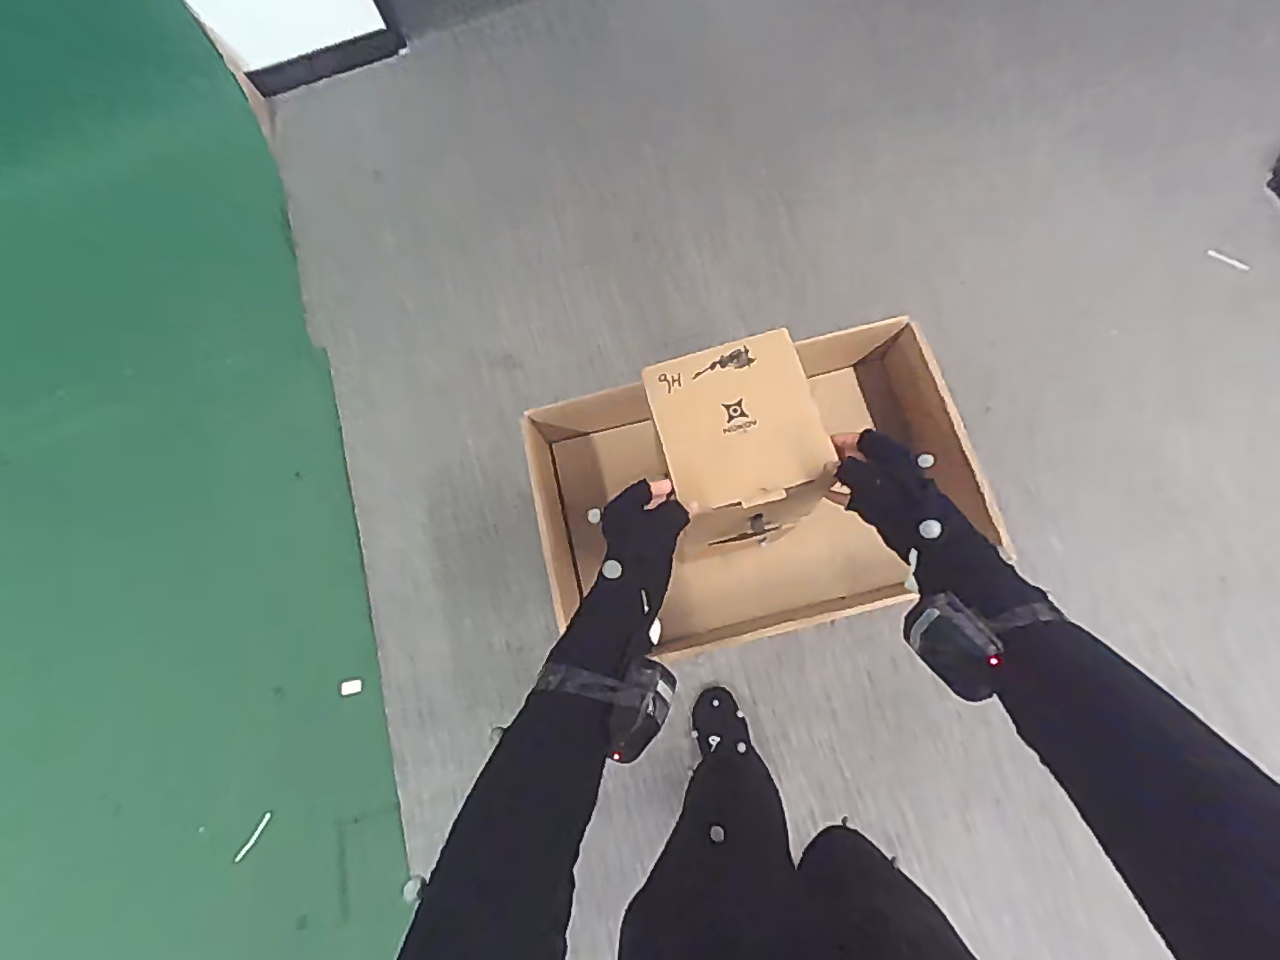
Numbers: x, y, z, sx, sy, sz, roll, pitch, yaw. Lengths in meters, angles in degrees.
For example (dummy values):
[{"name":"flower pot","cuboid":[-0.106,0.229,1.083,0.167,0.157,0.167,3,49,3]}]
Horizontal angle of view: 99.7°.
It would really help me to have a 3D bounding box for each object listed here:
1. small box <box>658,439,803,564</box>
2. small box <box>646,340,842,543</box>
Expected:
[{"name":"small box","cuboid":[0.128,0.024,0.824,0.168,0.176,0.179,-14,74,-1]},{"name":"small box","cuboid":[0.115,-0.030,0.640,0.168,0.176,0.179,-16,72,2]}]
